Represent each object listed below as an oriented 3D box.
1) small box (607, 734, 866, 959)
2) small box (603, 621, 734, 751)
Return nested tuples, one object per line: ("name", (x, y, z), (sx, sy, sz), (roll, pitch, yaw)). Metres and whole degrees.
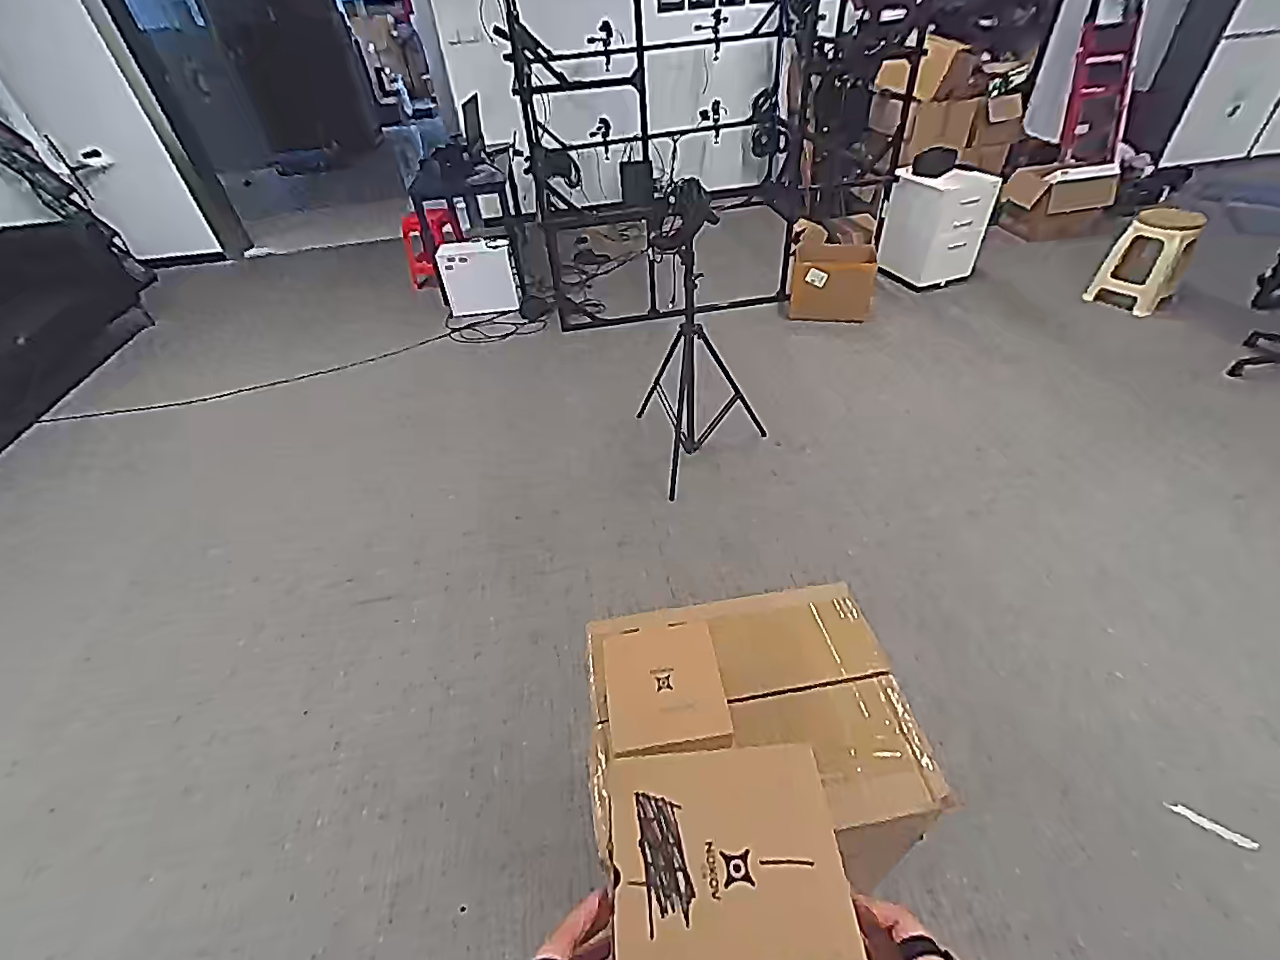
("small box", (0.068, 0.341, 0.471), (0.179, 0.176, 0.168), (-5, 47, -1))
("small box", (0.039, 0.346, 0.829), (0.168, 0.176, 0.179), (-9, 45, -3))
